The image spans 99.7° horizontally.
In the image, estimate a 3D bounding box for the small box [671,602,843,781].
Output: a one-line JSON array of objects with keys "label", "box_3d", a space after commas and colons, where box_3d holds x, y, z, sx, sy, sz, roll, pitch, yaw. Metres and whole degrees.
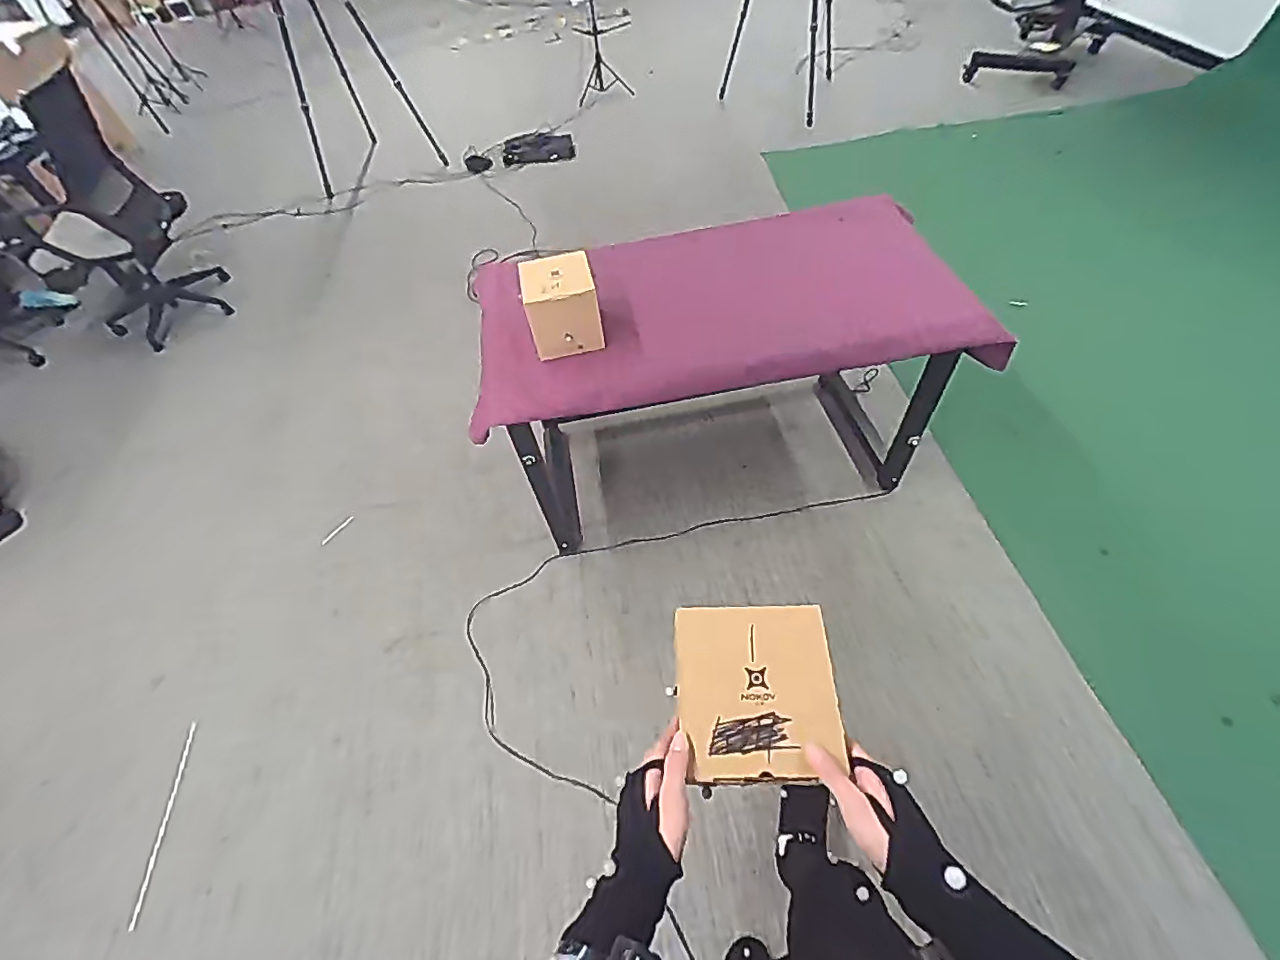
[{"label": "small box", "box_3d": [0.122, 0.255, 0.639, 0.168, 0.176, 0.179, -2, 58, 2]}]

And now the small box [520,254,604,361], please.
[{"label": "small box", "box_3d": [-0.190, -0.420, 1.322, 0.168, 0.176, 0.179, -13, 53, -3]}]
